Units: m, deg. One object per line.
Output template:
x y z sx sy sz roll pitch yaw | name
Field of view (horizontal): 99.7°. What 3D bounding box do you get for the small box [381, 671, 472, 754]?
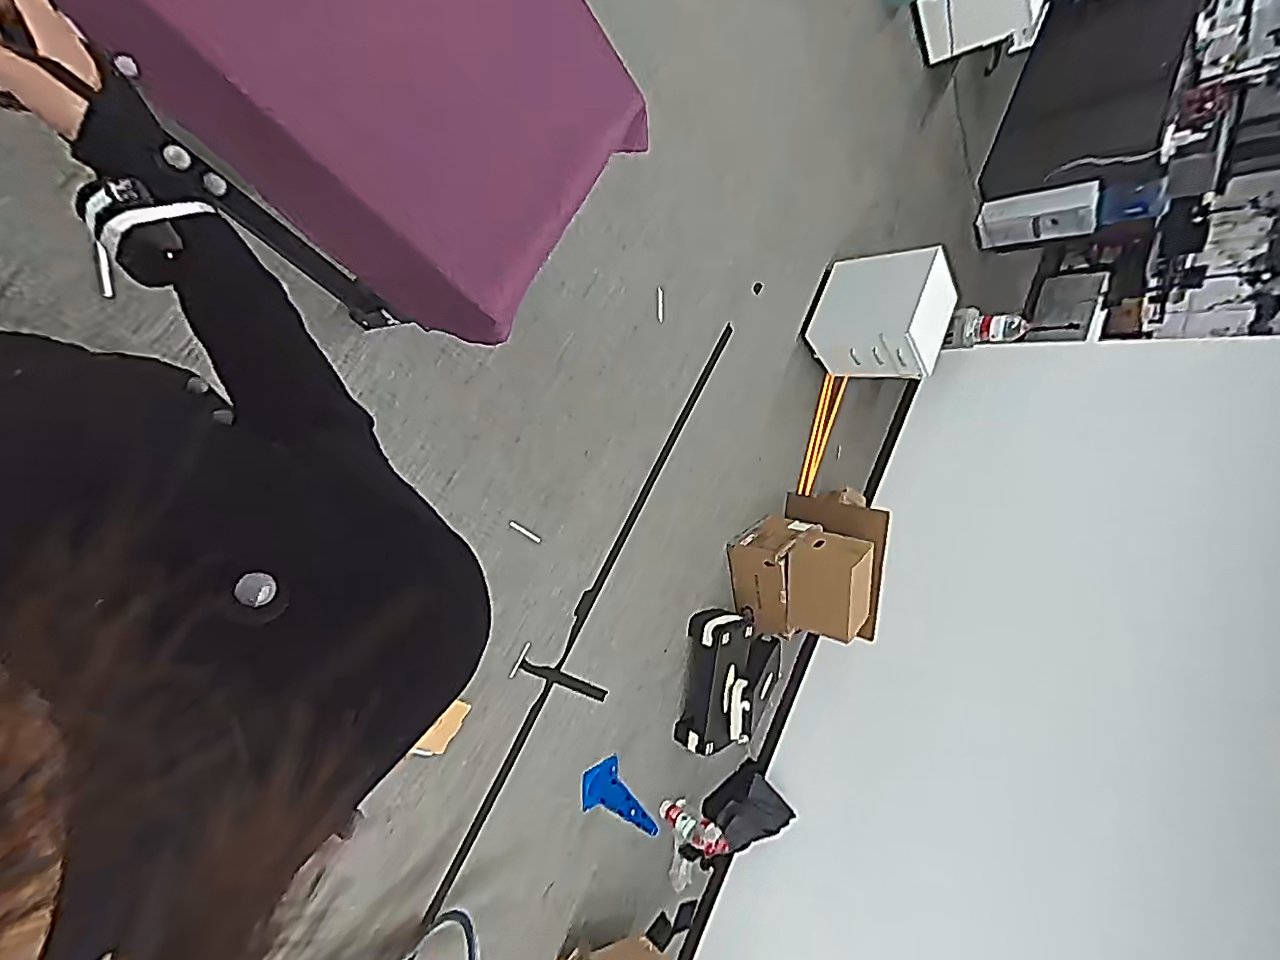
-0.679 0.727 1.708 0.179 0.176 0.168 46 67 -40 | small box
